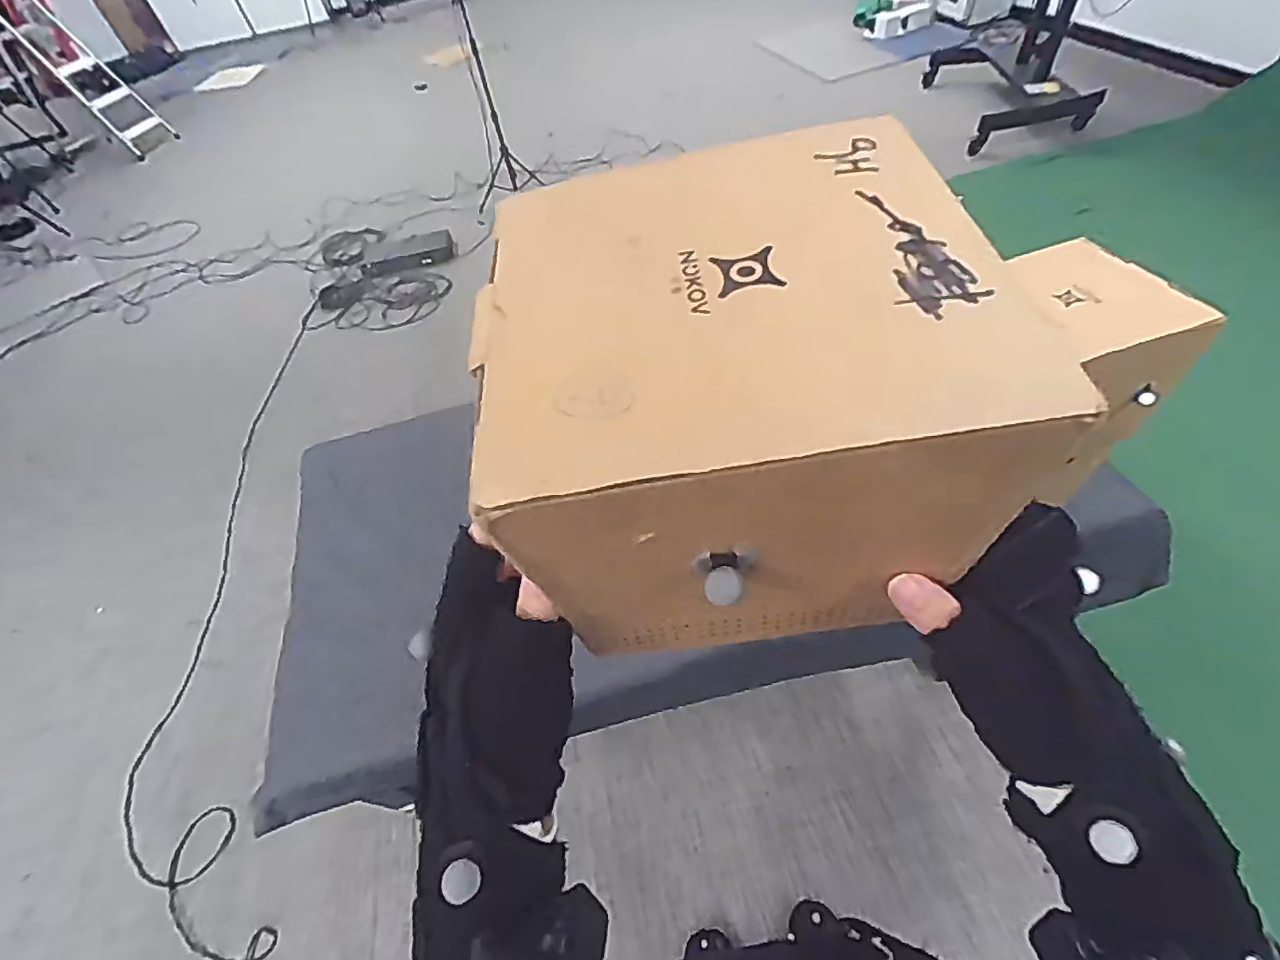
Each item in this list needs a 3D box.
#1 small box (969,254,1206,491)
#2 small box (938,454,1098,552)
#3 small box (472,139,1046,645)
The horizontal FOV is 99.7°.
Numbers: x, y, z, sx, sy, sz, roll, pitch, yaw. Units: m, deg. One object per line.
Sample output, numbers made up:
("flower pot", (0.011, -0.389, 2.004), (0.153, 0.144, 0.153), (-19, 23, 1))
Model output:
("small box", (0.434, -0.117, 0.605), (0.179, 0.176, 0.168), (-19, 49, -4))
("small box", (0.453, -0.023, 0.736), (0.168, 0.176, 0.179), (-19, 50, -6))
("small box", (0.040, -0.027, 0.270), (0.179, 0.176, 0.168), (-9, 57, 6))
